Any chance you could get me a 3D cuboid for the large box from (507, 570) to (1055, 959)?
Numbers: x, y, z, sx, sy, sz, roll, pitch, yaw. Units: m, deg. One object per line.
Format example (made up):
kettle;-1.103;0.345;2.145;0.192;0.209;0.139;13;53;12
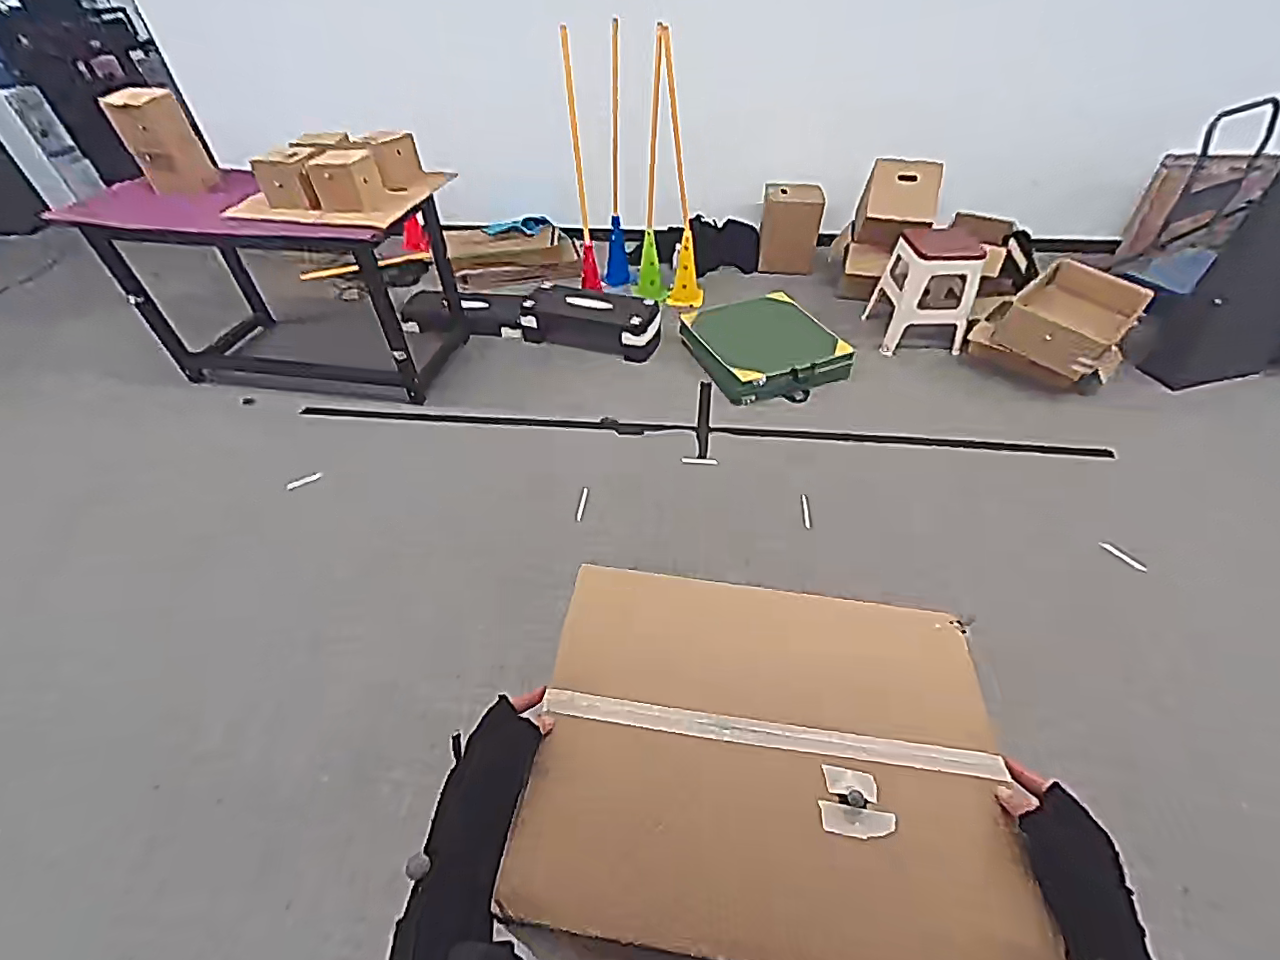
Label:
large box;0.107;0.333;0.593;0.408;0.320;0.320;7;45;4
